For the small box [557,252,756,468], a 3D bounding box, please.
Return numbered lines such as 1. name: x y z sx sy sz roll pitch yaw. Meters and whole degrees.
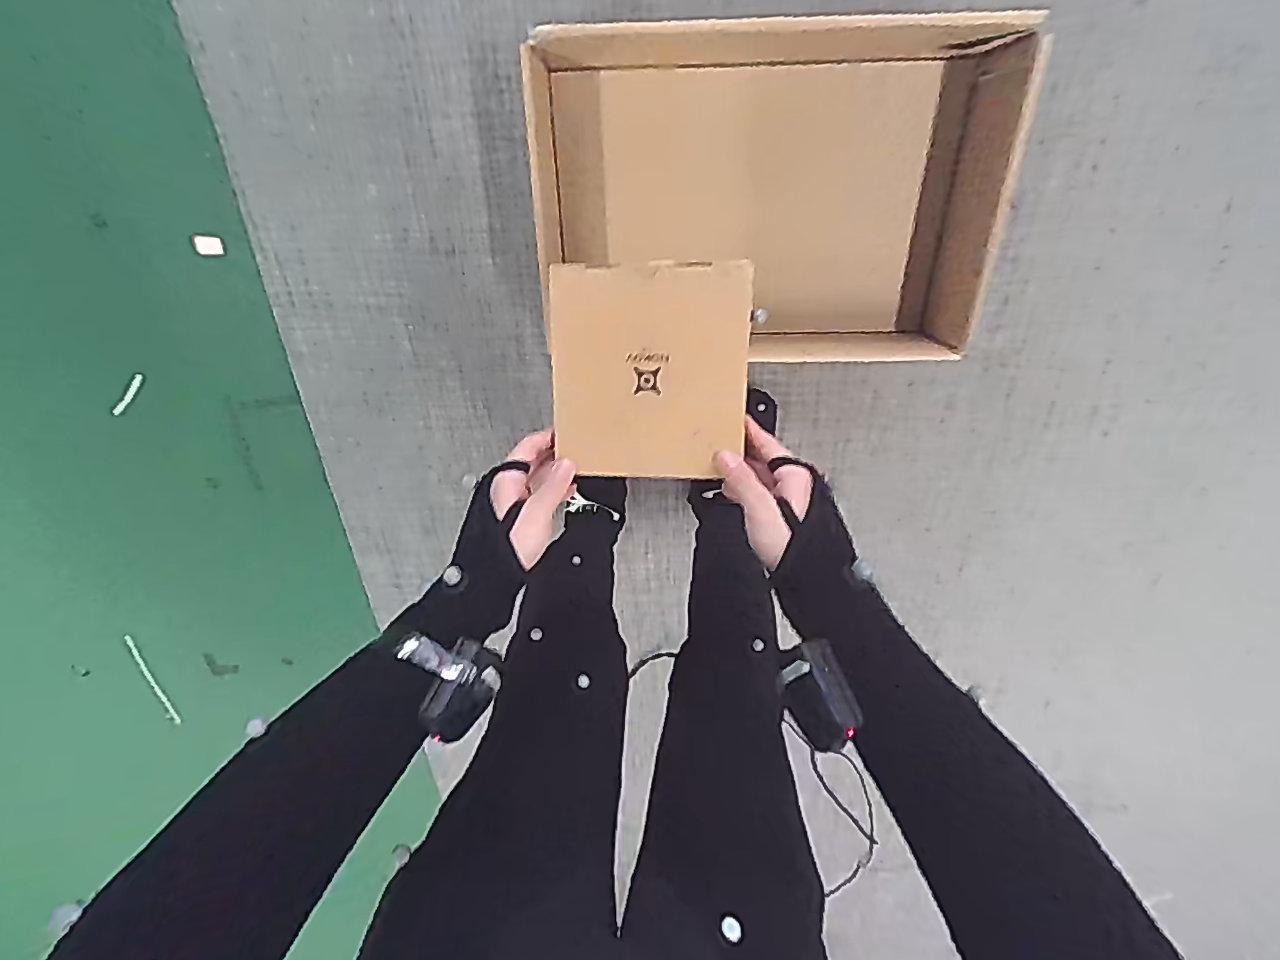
1. small box: 0.023 -0.117 0.530 0.168 0.176 0.179 2 103 8
